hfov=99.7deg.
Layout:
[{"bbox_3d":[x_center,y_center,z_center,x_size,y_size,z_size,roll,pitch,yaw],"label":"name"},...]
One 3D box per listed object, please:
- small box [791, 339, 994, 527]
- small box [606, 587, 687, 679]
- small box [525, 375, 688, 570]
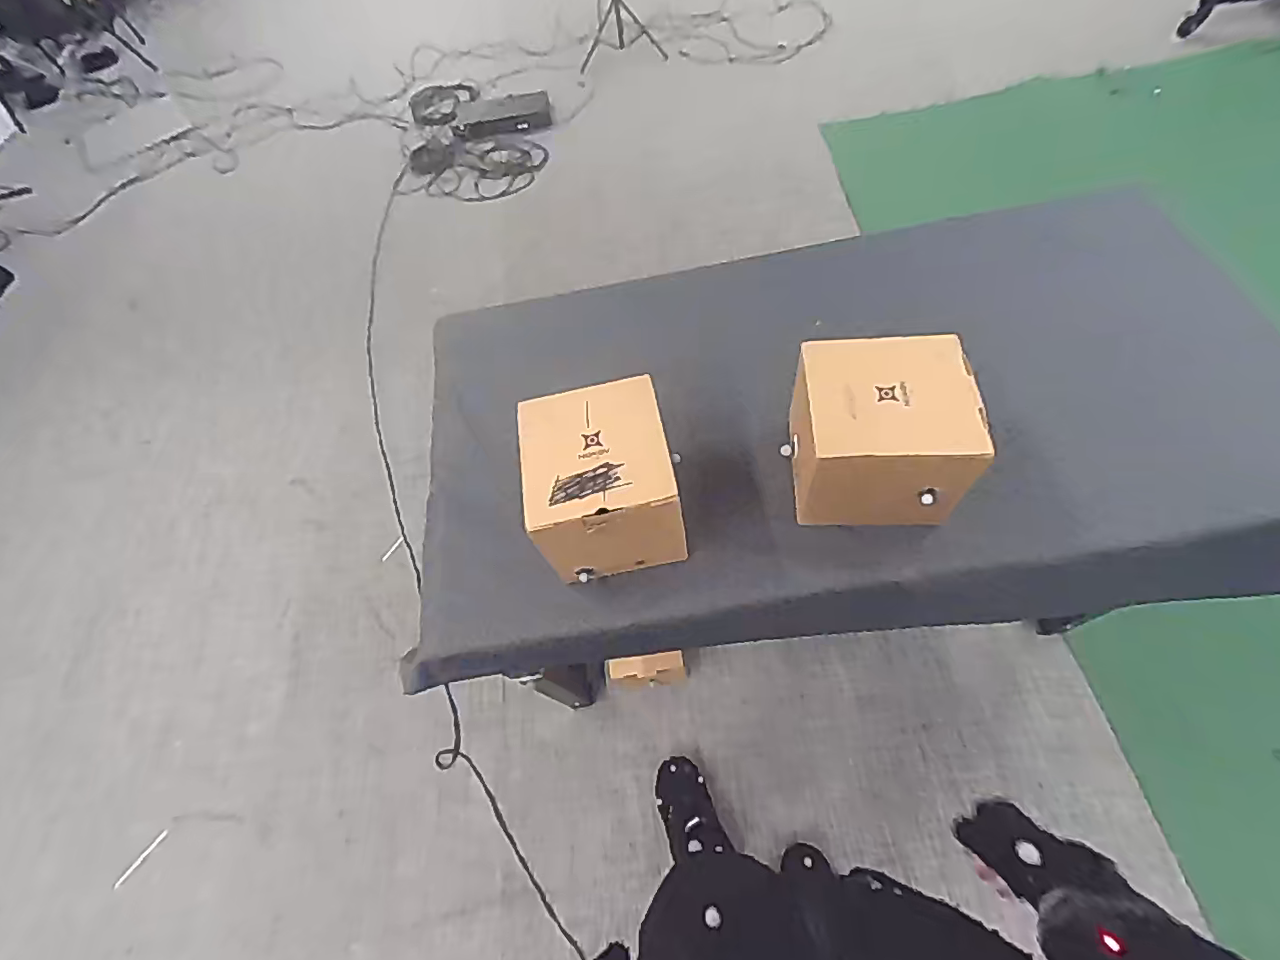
[{"bbox_3d":[0.289,-0.050,0.663,0.179,0.176,0.168,-1,60,9],"label":"small box"},{"bbox_3d":[0.019,0.376,1.306,0.168,0.176,0.179,-10,61,3],"label":"small box"},{"bbox_3d":[-0.037,0.001,0.678,0.168,0.176,0.179,-11,59,2],"label":"small box"}]
